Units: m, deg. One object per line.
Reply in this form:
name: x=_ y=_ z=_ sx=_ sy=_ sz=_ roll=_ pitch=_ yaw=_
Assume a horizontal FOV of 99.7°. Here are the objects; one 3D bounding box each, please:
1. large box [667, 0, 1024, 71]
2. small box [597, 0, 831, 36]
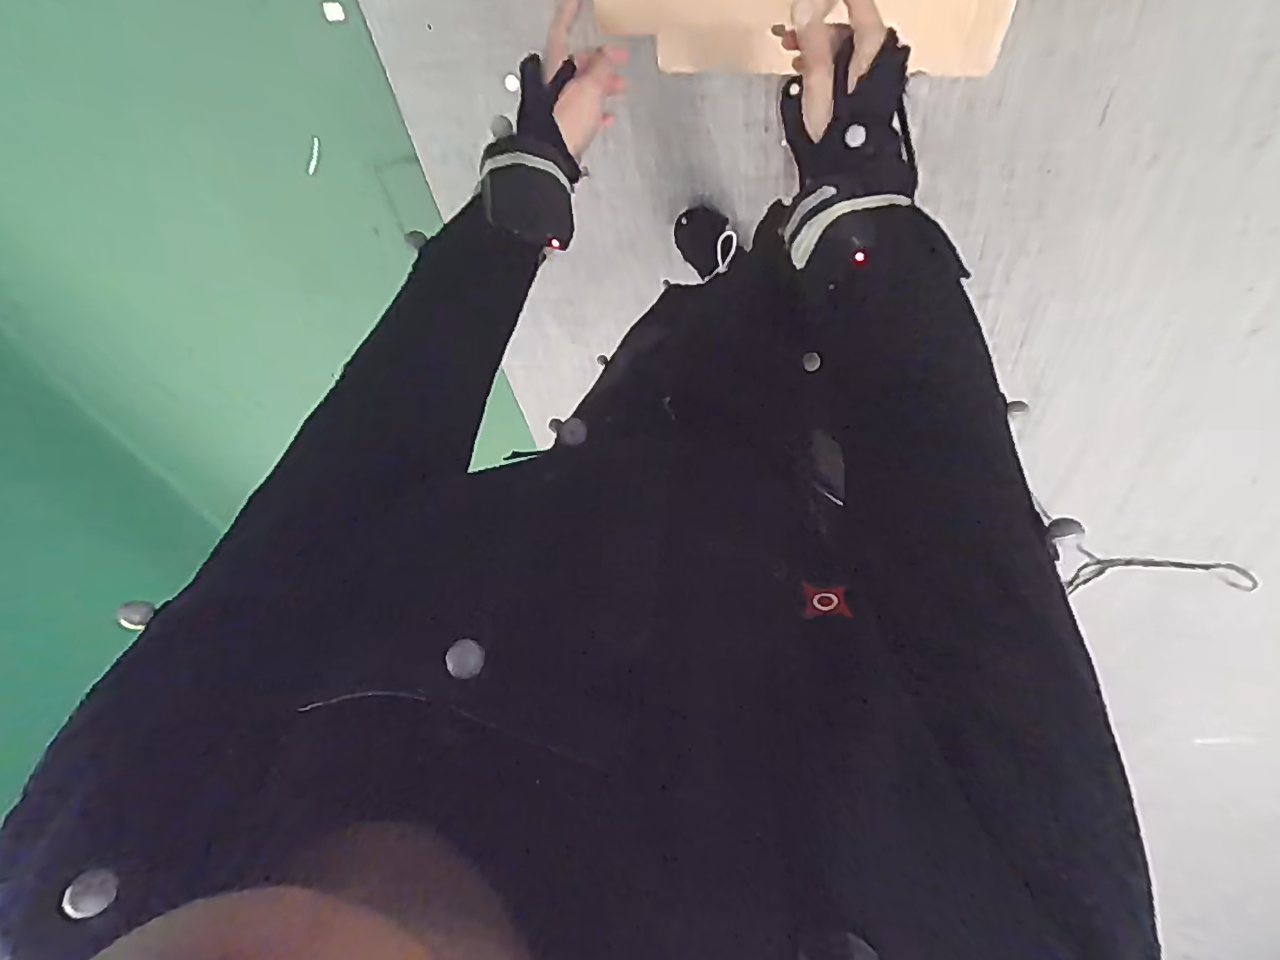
large box: x=0.261 y=-0.716 z=0.647 sx=0.408 sy=0.320 sz=0.320 roll=13 pitch=140 yaw=17
small box: x=0.069 y=-0.452 z=0.399 sx=0.179 sy=0.176 sz=0.168 roll=12 pitch=138 yaw=20
